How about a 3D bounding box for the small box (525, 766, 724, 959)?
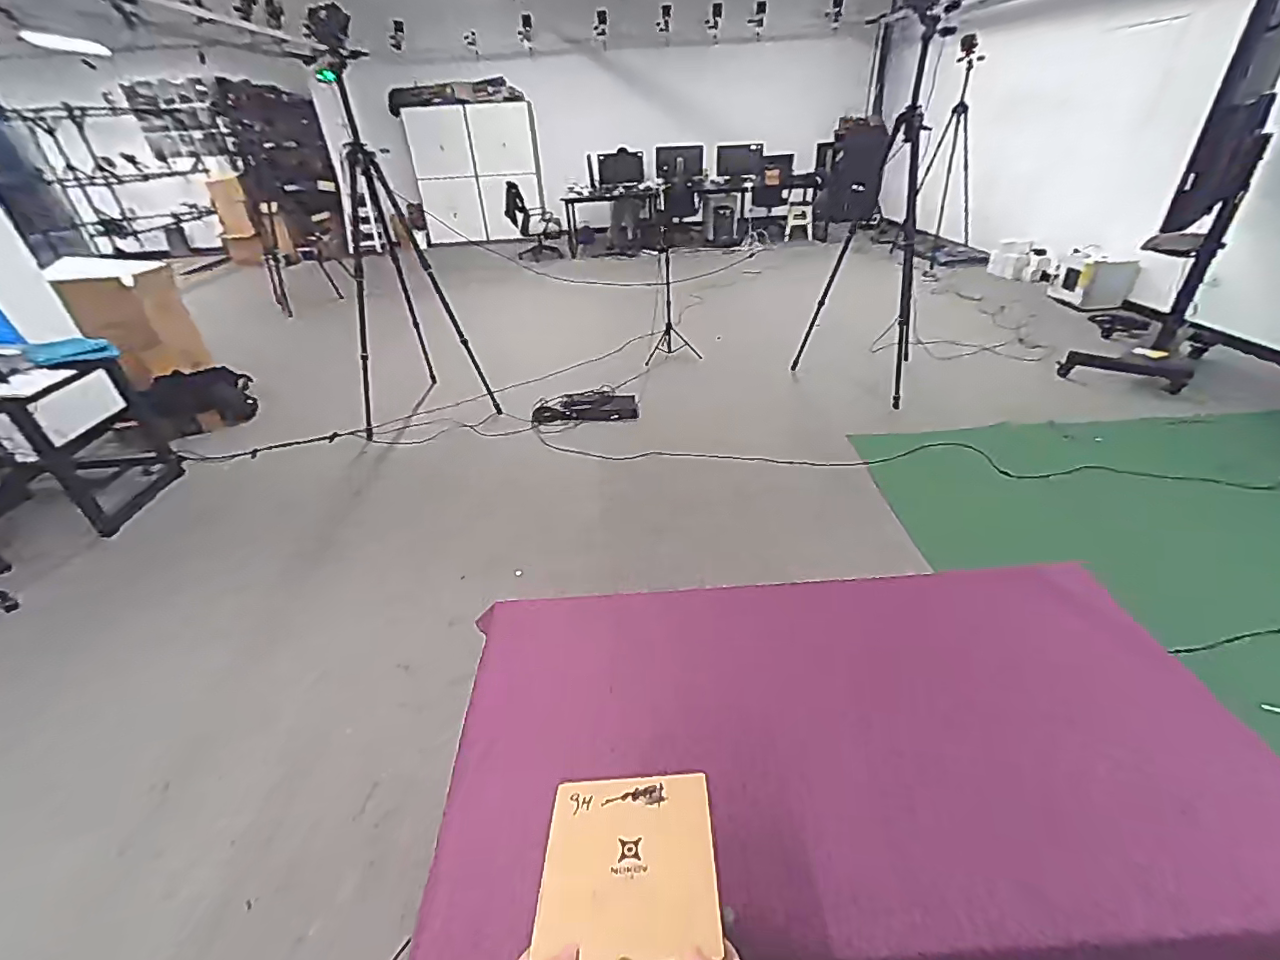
[{"bbox_3d":[-0.004,0.433,0.554,0.168,0.176,0.179,-6,24,4],"label":"small box"}]
